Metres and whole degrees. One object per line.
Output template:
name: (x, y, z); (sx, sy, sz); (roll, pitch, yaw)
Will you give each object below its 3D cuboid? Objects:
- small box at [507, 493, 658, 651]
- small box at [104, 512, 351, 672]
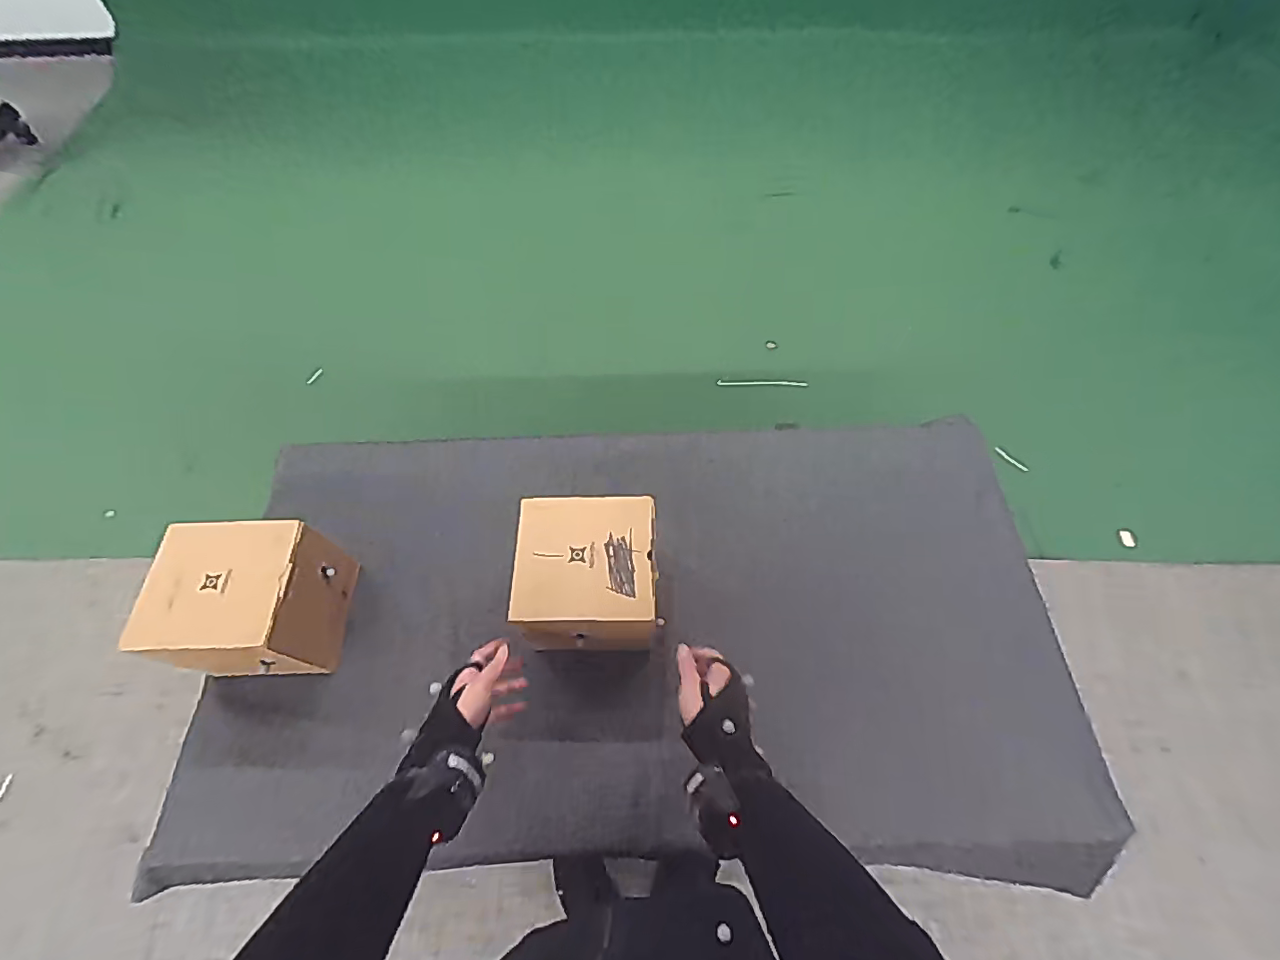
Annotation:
small box: (-0.066, 0.129, 0.732); (0.179, 0.176, 0.168); (0, 60, 1)
small box: (-0.517, 0.152, 0.715); (0.179, 0.176, 0.168); (-2, 59, 0)
